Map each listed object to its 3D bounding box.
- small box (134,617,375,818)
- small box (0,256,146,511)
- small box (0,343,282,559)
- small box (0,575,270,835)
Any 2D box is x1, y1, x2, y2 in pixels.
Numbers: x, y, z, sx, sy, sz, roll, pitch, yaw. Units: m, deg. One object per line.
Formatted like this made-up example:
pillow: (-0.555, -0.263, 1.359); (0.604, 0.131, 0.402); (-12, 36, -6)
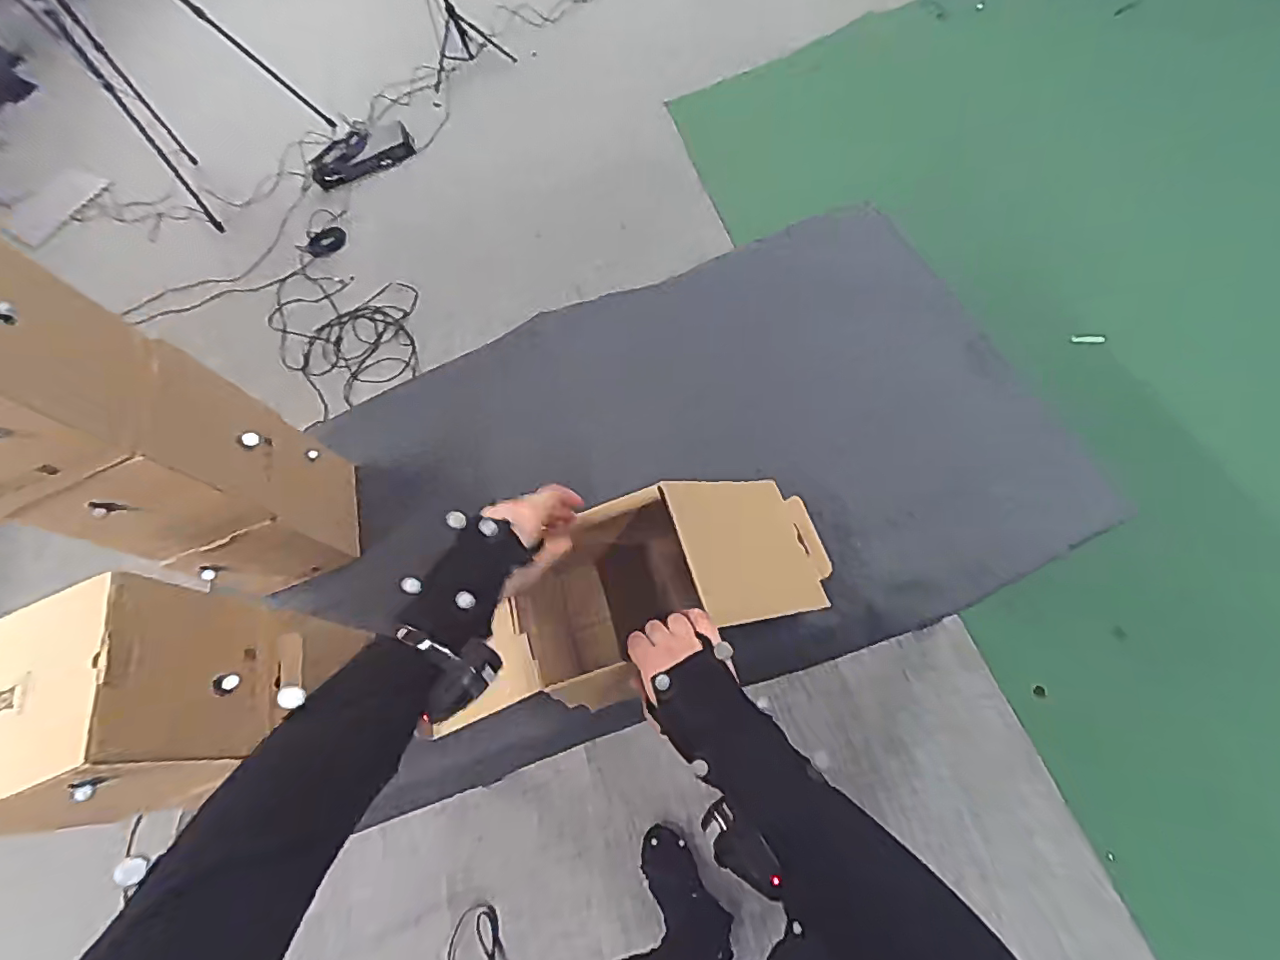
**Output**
small box: (-0.444, 0.282, 0.654); (0.179, 0.176, 0.168); (-20, 62, 5)
small box: (-0.612, -0.088, 0.500); (0.168, 0.176, 0.179); (-24, 61, 1)
small box: (-0.571, -0.023, 0.643); (0.179, 0.176, 0.168); (-21, 63, 3)
small box: (-0.494, 0.217, 0.513); (0.179, 0.176, 0.168); (-24, 62, 2)
